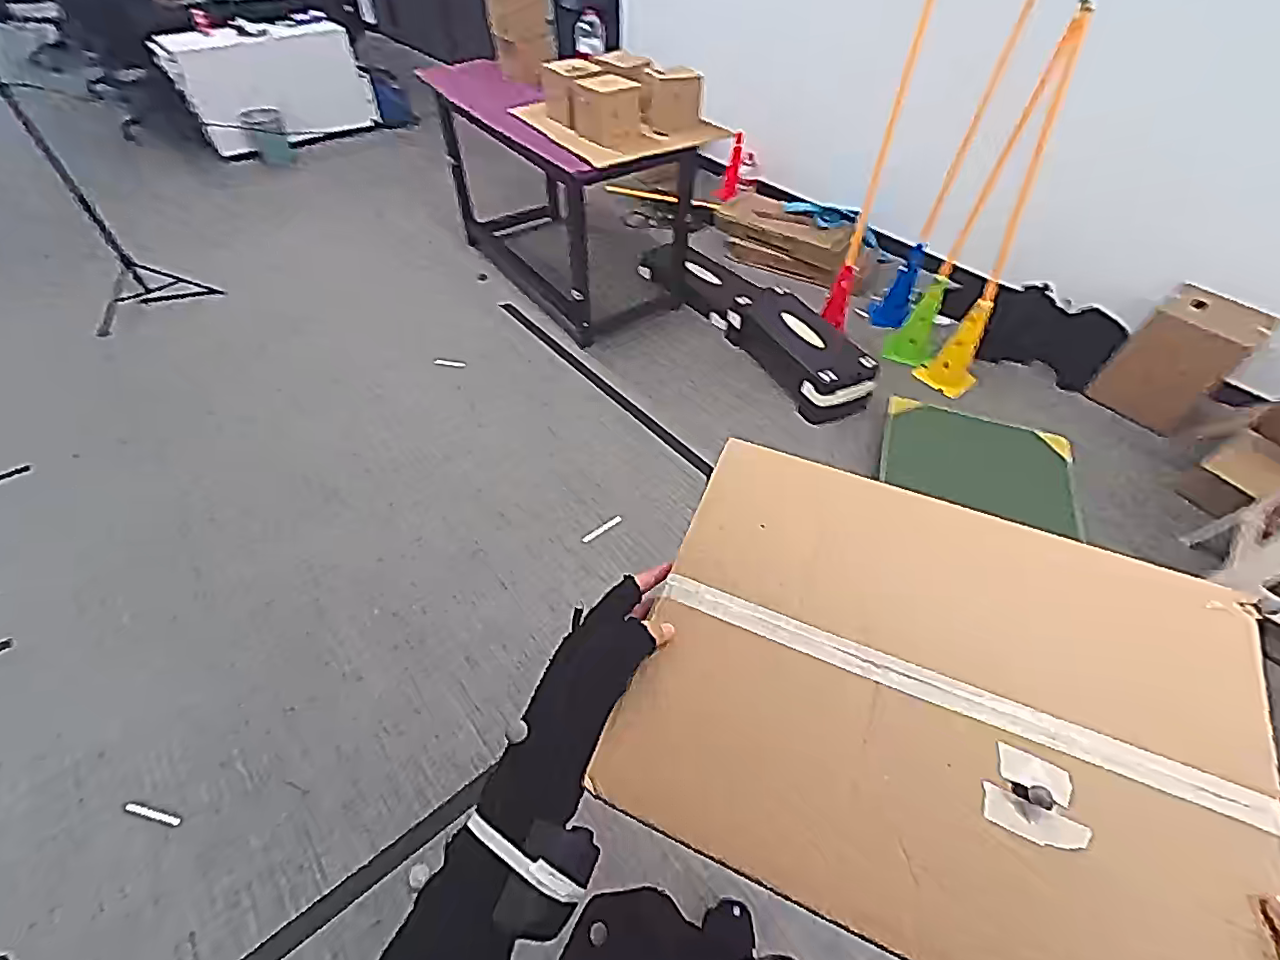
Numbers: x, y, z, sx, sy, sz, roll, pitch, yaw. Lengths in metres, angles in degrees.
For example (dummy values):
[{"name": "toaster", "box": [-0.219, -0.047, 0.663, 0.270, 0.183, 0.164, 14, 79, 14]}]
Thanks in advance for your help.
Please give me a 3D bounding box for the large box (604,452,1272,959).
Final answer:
[{"name": "large box", "box": [0.221, 0.227, 0.525, 0.408, 0.320, 0.320, 19, 63, 15]}]
